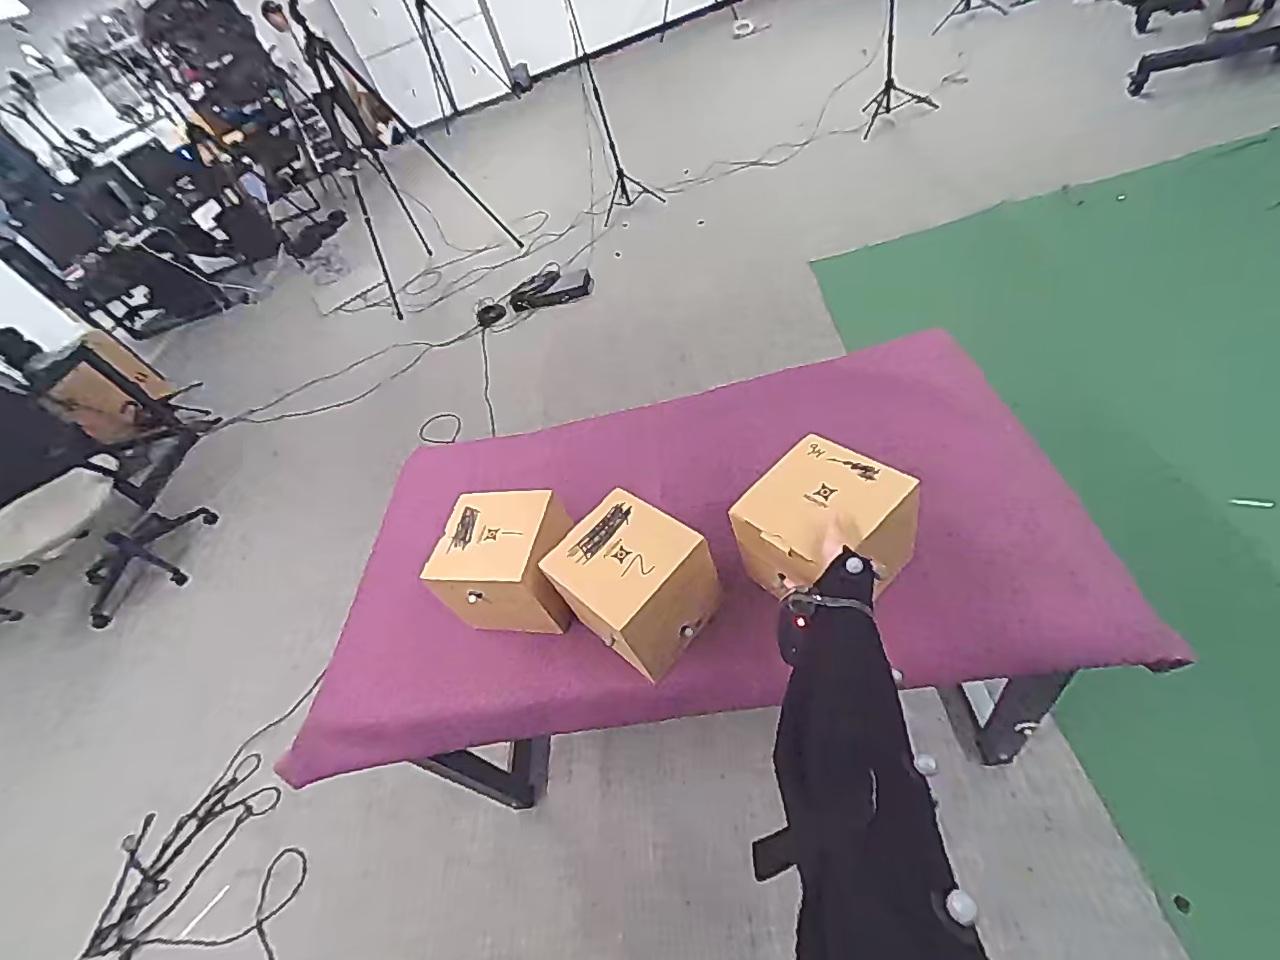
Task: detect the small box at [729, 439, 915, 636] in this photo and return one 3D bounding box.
[{"bbox_3d":[0.253,0.081,0.749,0.179,0.176,0.168,-41,48,-16],"label":"small box"}]
